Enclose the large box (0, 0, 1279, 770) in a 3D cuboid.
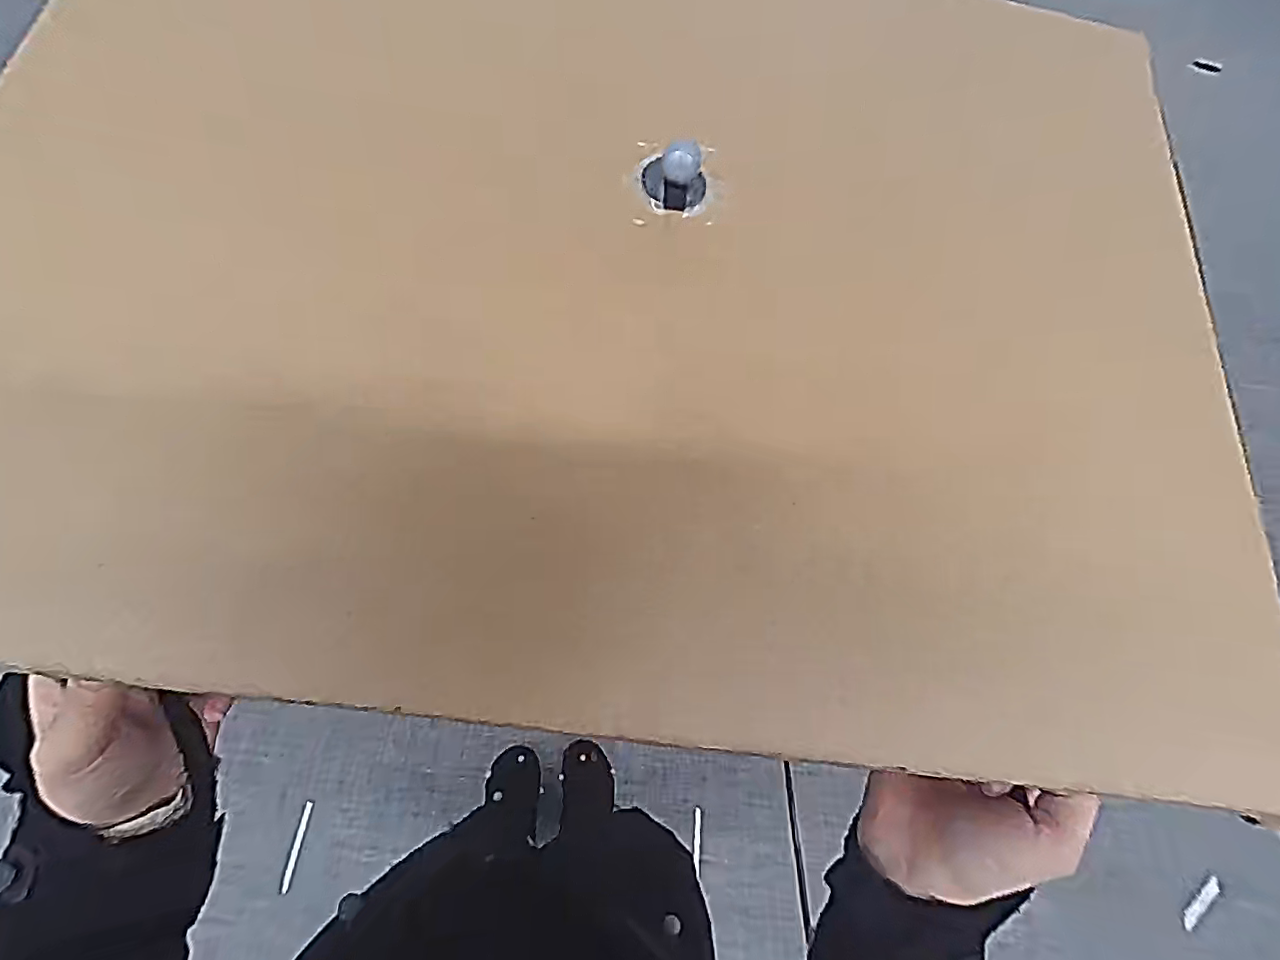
[{"bbox_3d":[-0.010,-0.051,0.317,0.408,0.320,0.320,8,74,-4],"label":"large box"}]
